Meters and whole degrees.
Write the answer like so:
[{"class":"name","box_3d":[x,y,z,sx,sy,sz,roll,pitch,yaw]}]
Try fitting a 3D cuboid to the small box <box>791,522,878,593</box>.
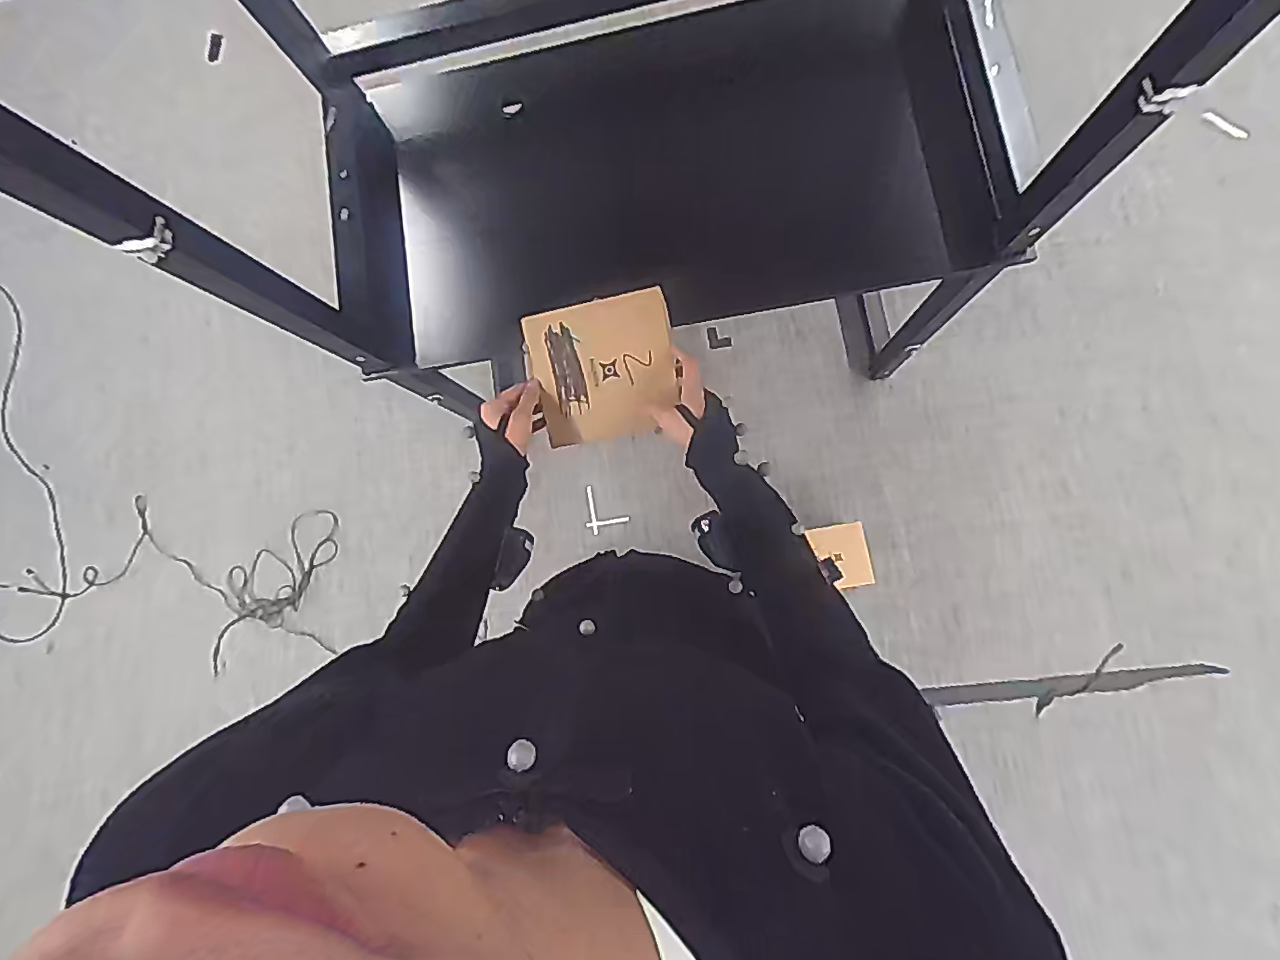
[{"class":"small box","box_3d":[0.529,0.210,1.493,0.179,0.176,0.168,-11,82,7]}]
